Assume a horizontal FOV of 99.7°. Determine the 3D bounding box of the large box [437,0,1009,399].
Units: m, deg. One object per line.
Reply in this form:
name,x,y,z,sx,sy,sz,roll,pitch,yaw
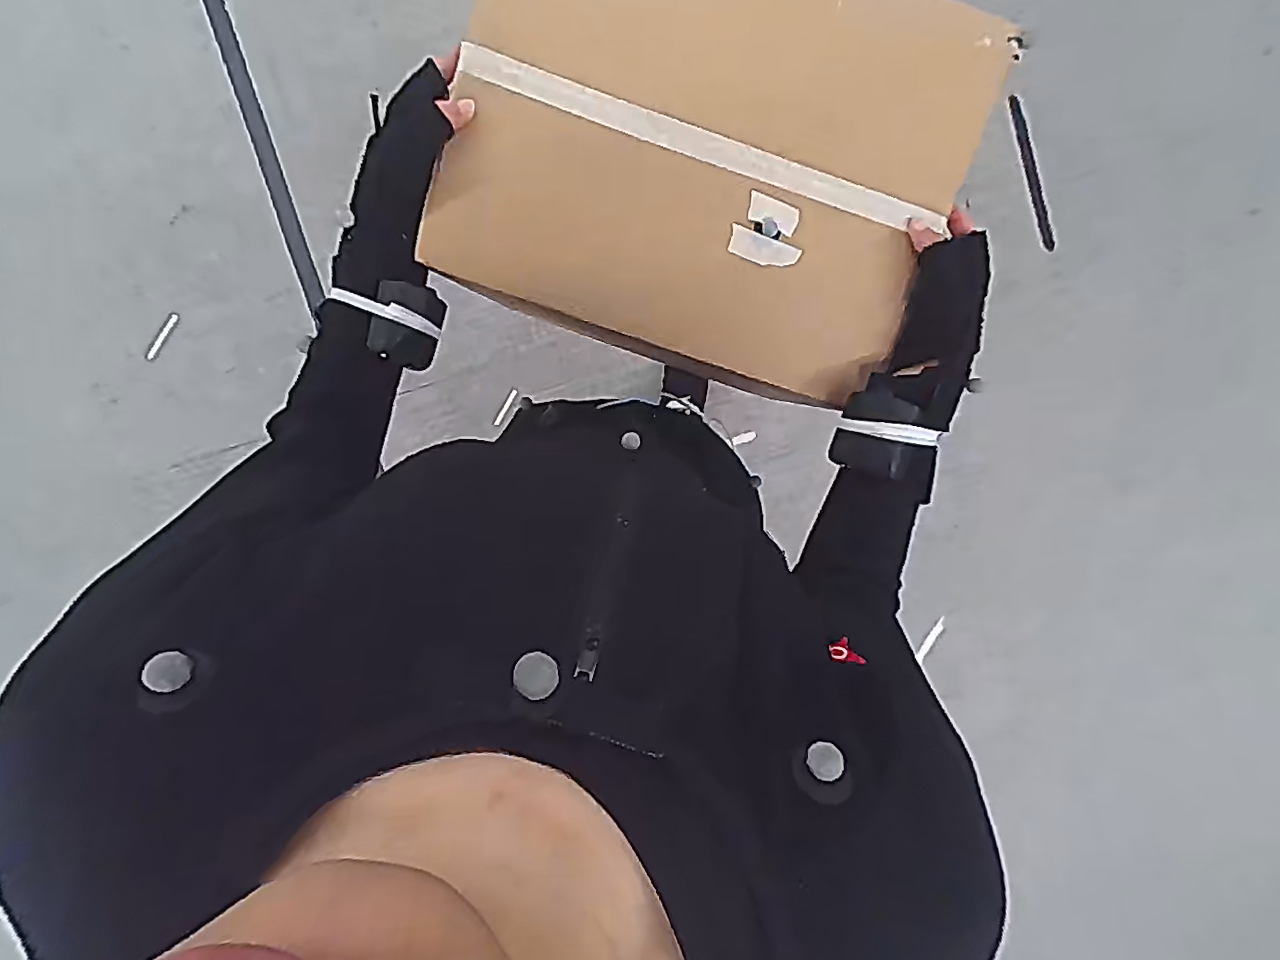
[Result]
large box,0.057,-0.299,0.587,0.408,0.320,0.320,18,101,-5
